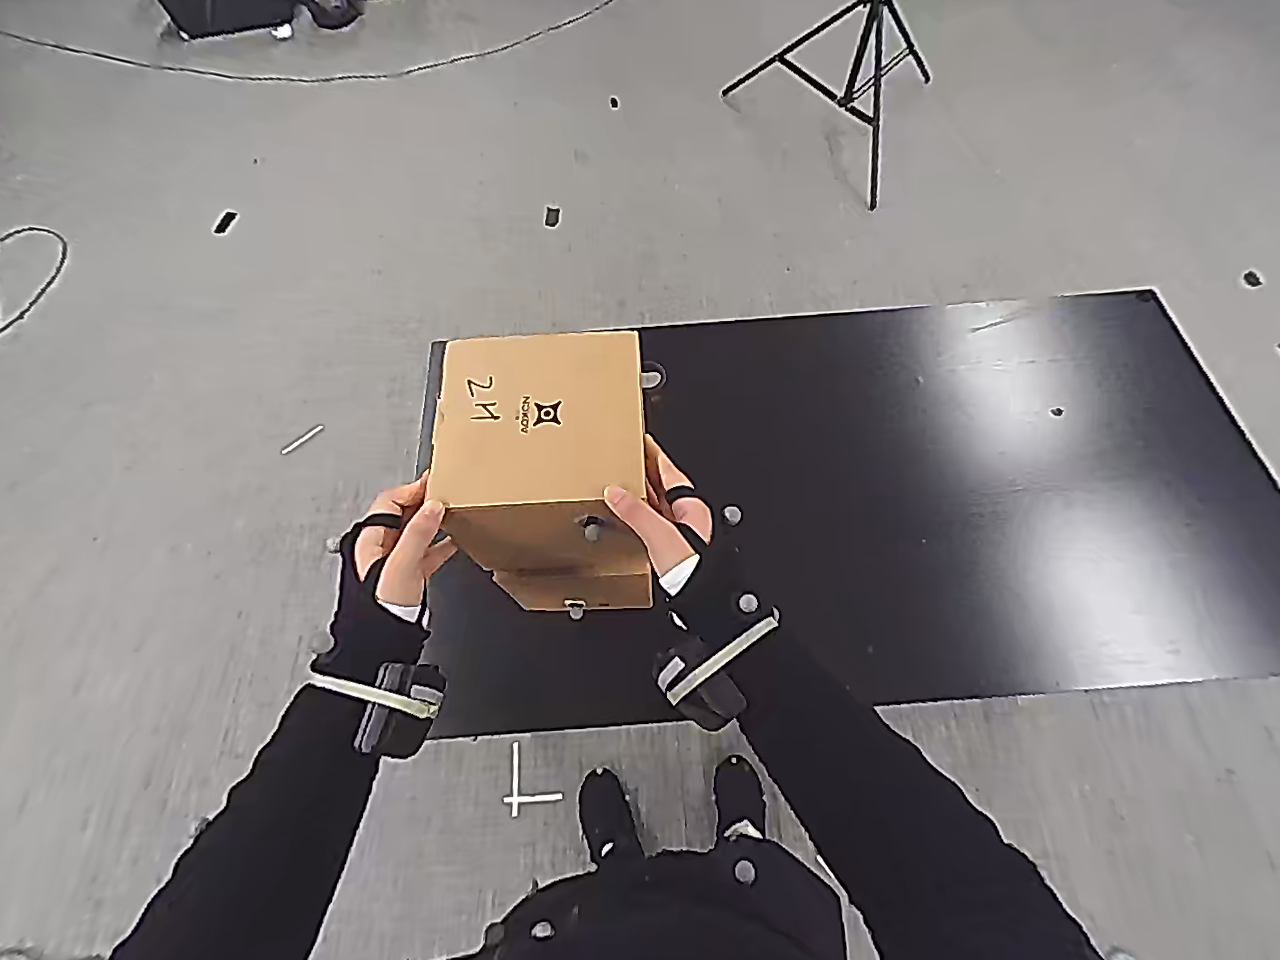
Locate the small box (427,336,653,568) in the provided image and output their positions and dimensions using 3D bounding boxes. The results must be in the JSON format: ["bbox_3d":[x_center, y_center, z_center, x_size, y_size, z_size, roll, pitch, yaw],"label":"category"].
[{"bbox_3d":[-0.077,-0.017,0.521,0.179,0.176,0.168,-3,65,2],"label":"small box"}]

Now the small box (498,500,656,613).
[{"bbox_3d":[-0.066,0.058,0.668,0.168,0.176,0.179,-3,65,2],"label":"small box"}]
